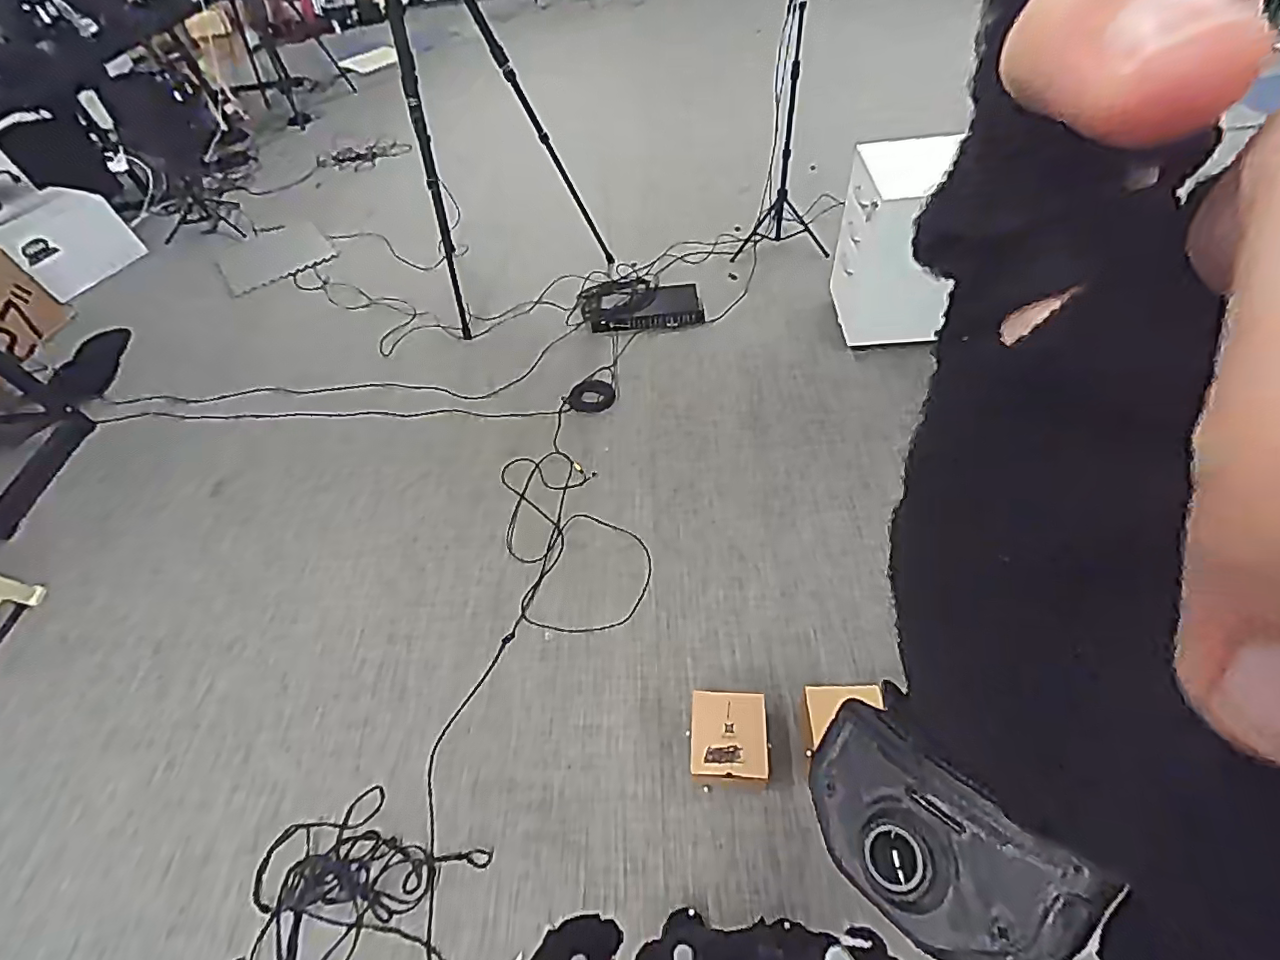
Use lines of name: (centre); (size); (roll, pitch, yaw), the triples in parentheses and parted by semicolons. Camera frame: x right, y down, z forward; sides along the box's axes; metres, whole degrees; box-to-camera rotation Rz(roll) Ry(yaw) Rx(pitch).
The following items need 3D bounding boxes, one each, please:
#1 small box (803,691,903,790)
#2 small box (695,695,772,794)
small box: (0.478, 0.600, 1.243); (0.168, 0.176, 0.179); (-4, 52, 6)
small box: (0.218, 0.620, 1.263); (0.168, 0.176, 0.179); (0, 52, 8)
